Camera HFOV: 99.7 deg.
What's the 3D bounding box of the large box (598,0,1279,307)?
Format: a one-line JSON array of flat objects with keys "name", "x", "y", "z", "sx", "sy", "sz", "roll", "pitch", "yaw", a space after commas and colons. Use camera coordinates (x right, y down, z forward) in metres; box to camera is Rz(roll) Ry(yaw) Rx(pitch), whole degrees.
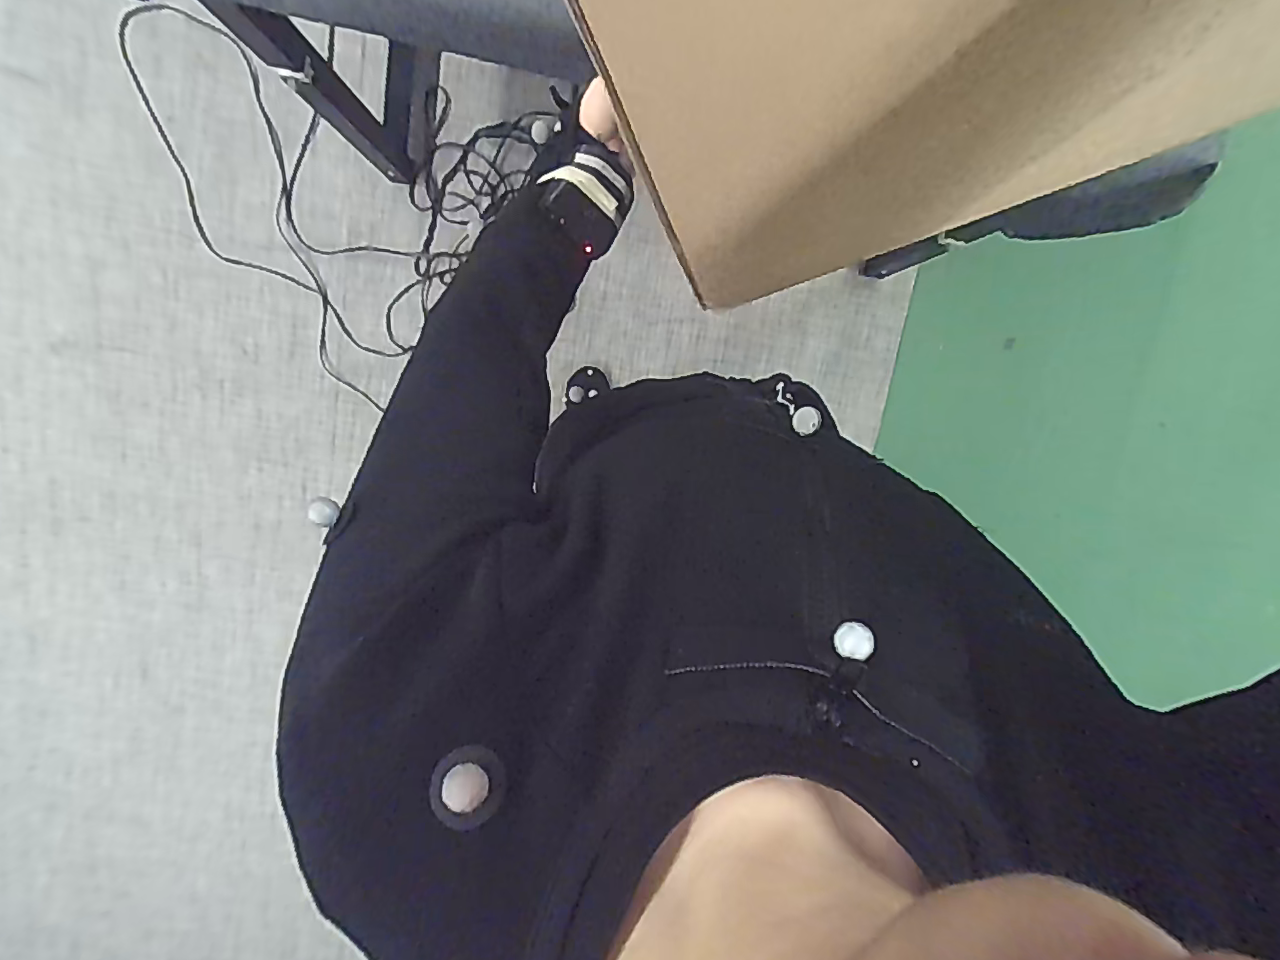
[{"name": "large box", "x": 0.157, "y": -0.351, "z": 0.234, "sx": 0.408, "sy": 0.320, "sz": 0.320, "roll": -19, "pitch": 64, "yaw": 17}]
